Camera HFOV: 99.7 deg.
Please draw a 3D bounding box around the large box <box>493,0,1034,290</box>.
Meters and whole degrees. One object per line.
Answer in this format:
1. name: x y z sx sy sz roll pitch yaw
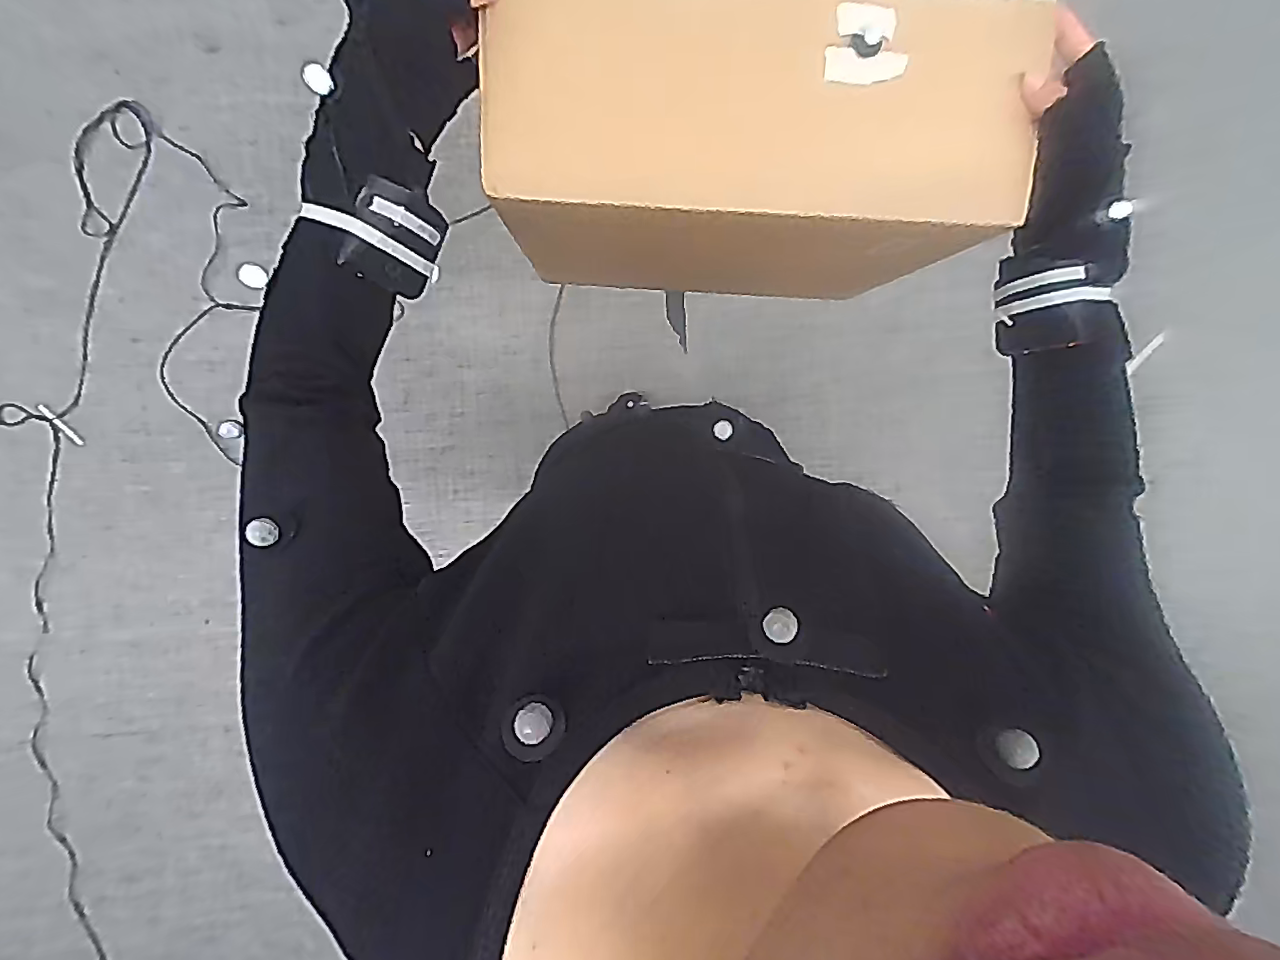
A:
1. large box: 0.084 -0.382 0.536 0.408 0.320 0.320 2 99 -3
